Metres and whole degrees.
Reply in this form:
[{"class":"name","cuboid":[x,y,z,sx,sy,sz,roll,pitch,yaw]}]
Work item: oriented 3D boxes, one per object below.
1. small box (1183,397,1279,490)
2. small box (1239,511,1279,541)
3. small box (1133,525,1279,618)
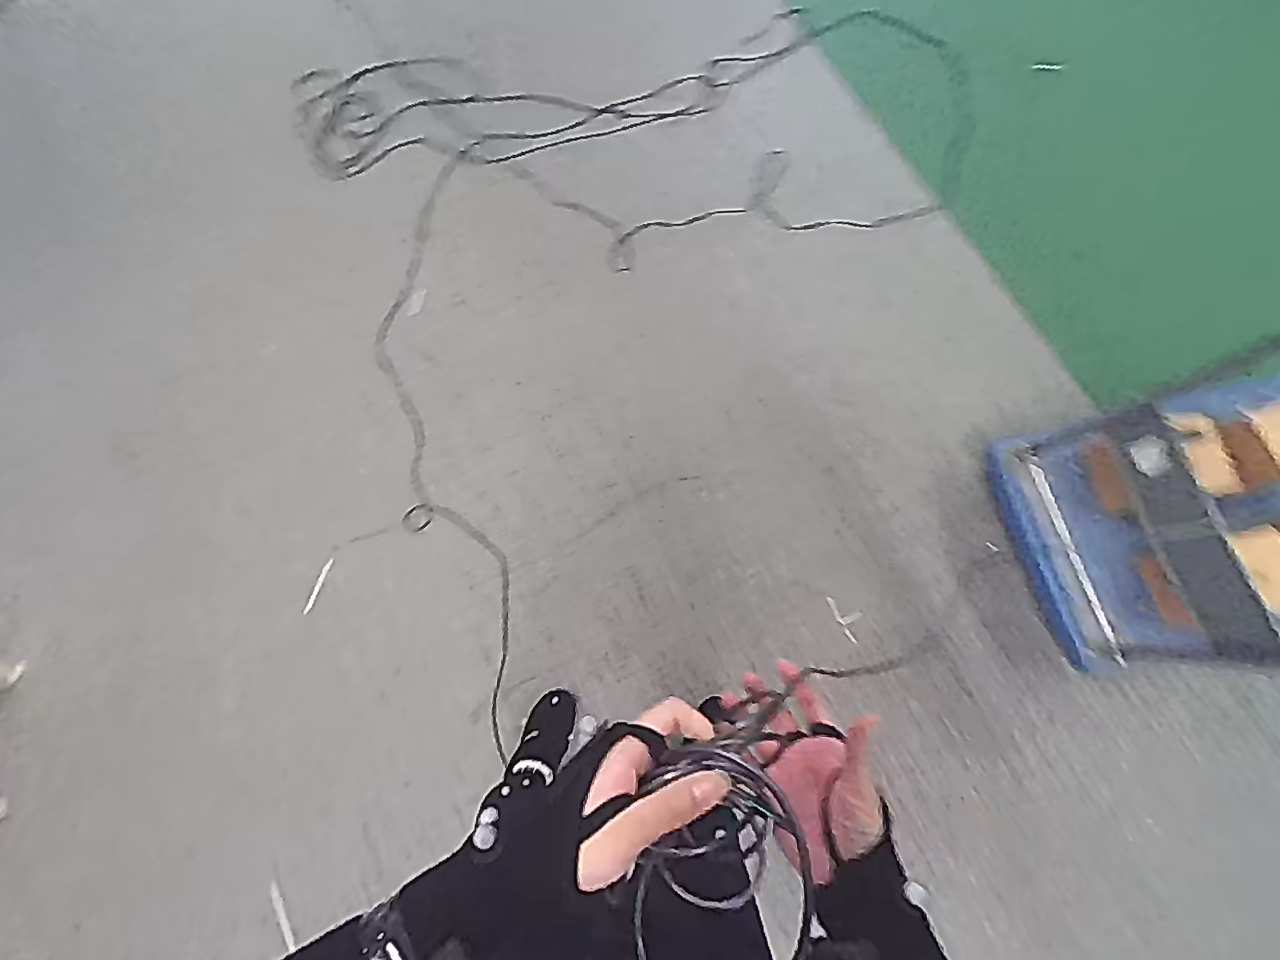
[{"class":"small box","cuboid":[1.464,-0.089,1.284,0.179,0.176,0.168,-17,76,-4]},{"class":"small box","cuboid":[1.543,0.142,1.221,0.179,0.176,0.168,-18,75,-3]},{"class":"small box","cuboid":[1.281,0.208,1.207,0.179,0.176,0.168,-13,75,-3]}]
